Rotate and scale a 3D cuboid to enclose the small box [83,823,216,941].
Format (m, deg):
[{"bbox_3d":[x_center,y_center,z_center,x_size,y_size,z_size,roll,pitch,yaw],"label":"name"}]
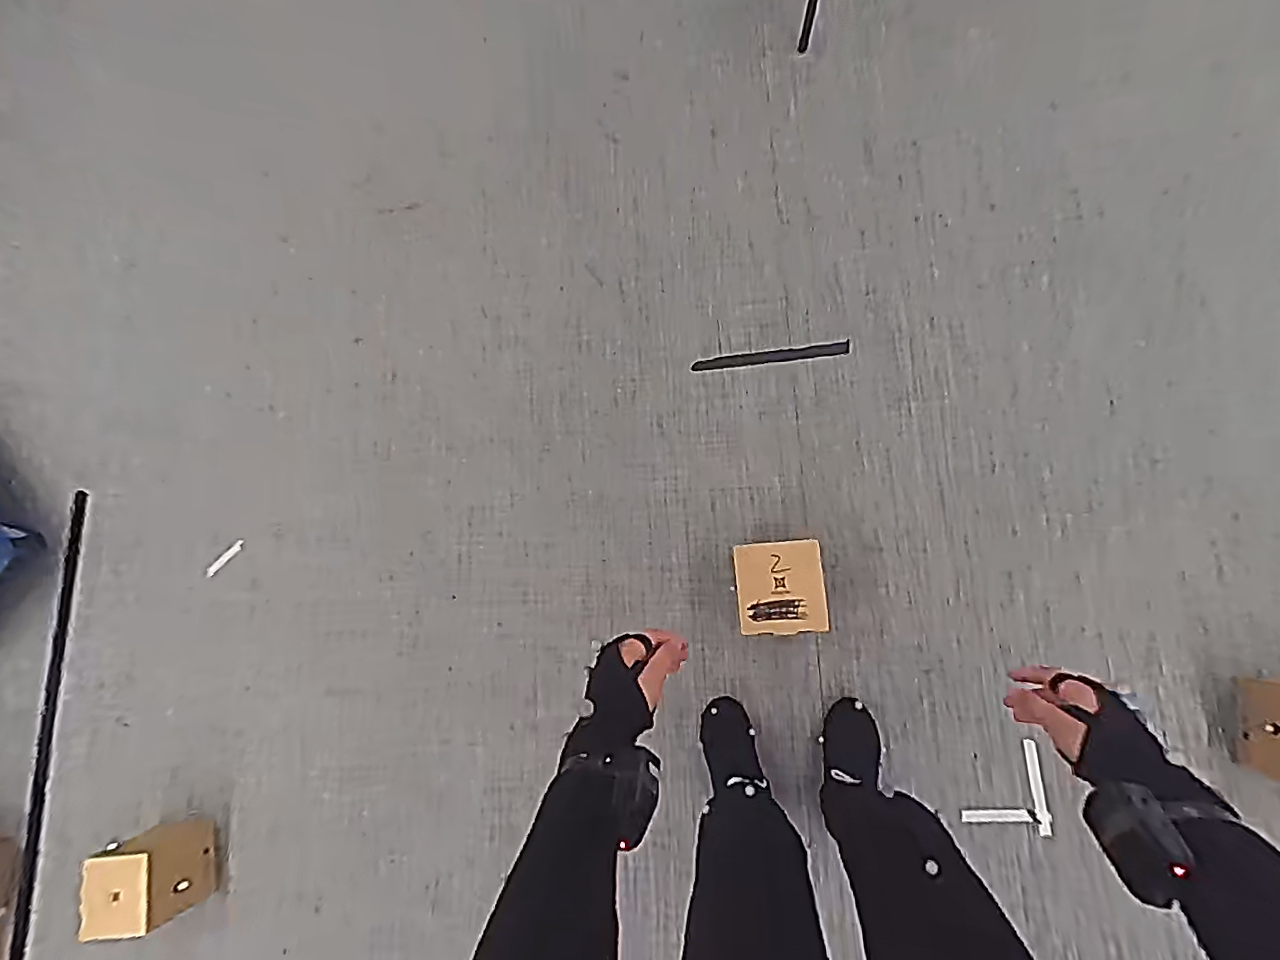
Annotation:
[{"bbox_3d":[-1.138,0.931,1.267,0.179,0.176,0.168,-11,79,9],"label":"small box"}]

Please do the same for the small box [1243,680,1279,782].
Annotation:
[{"bbox_3d":[1.179,0.444,0.905,0.179,0.176,0.168,5,83,11],"label":"small box"}]
